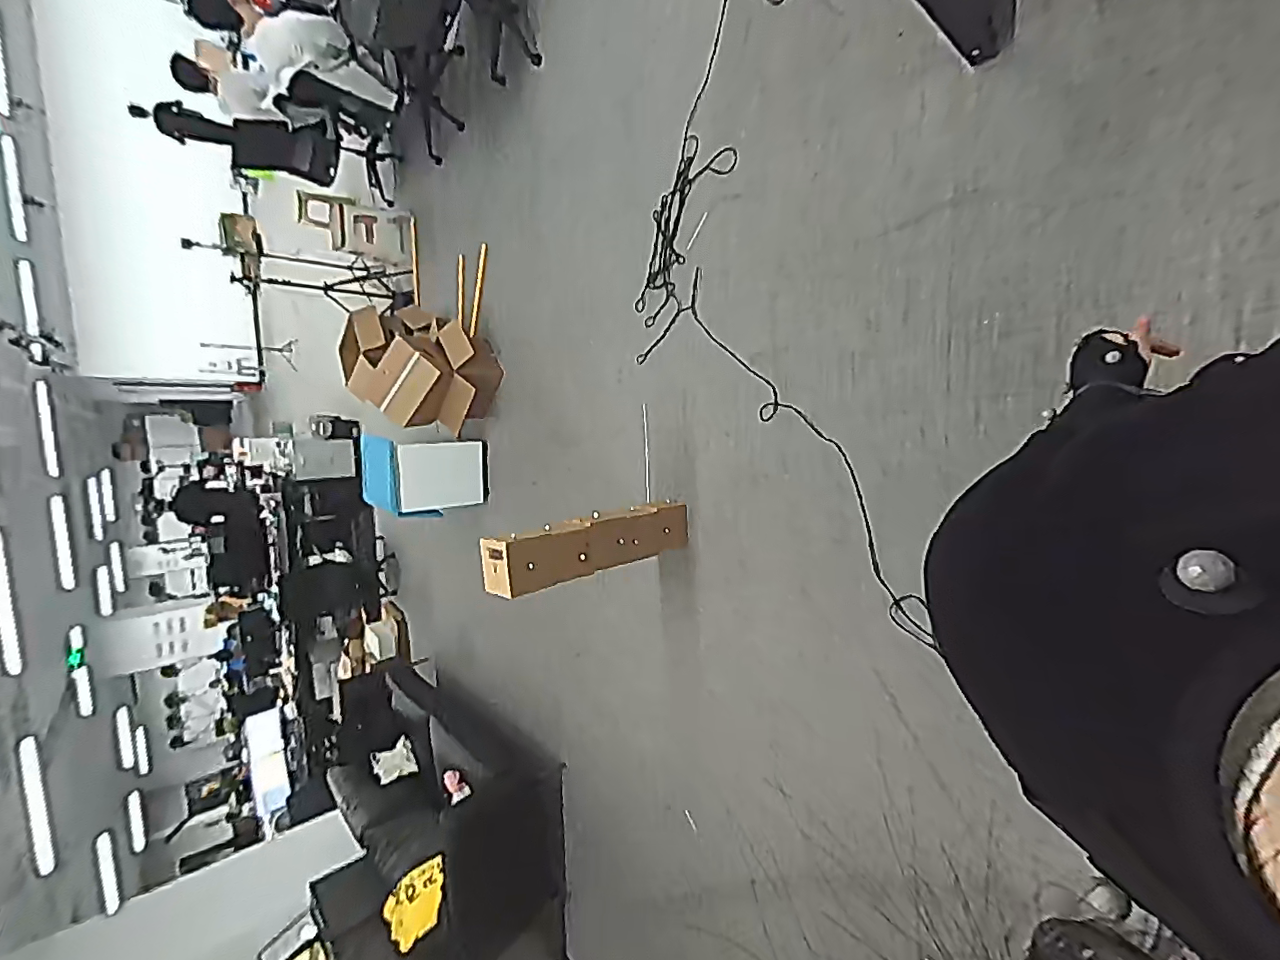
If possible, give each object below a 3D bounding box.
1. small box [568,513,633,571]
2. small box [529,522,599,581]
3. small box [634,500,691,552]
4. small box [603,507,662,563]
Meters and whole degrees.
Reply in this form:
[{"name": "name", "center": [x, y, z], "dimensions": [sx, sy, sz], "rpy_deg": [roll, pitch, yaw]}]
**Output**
[{"name": "small box", "center": [-0.141, 0.217, 1.958], "dimensions": [0.168, 0.176, 0.179], "rpy_deg": [1, 95, 49]}, {"name": "small box", "center": [-0.261, 0.238, 1.850], "dimensions": [0.179, 0.176, 0.168], "rpy_deg": [1, 97, 48]}, {"name": "small box", "center": [0.095, 0.181, 2.182], "dimensions": [0.168, 0.176, 0.179], "rpy_deg": [4, 98, 49]}, {"name": "small box", "center": [-0.028, 0.206, 2.076], "dimensions": [0.168, 0.176, 0.179], "rpy_deg": [4, 98, 48]}]
